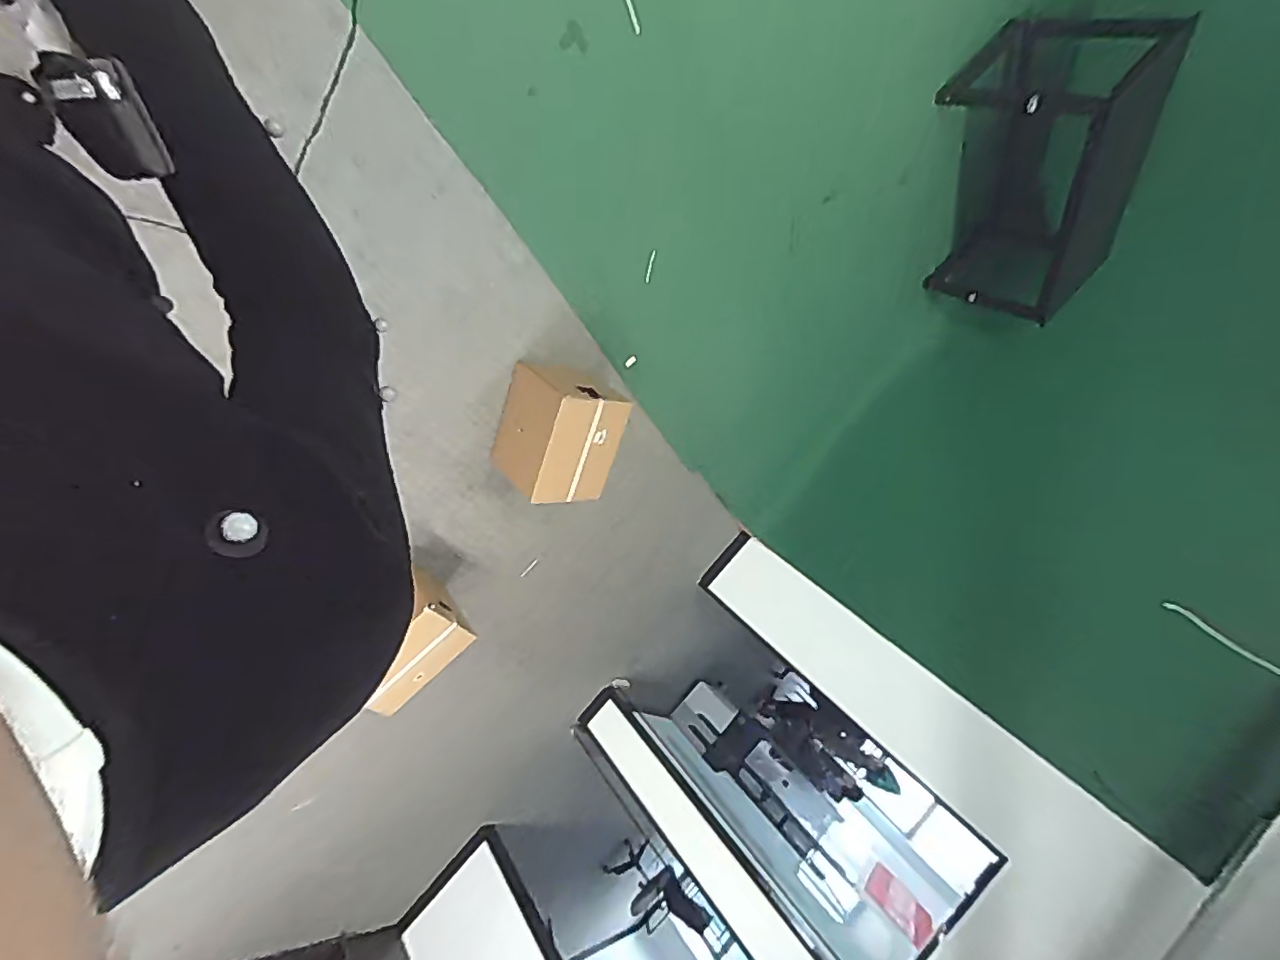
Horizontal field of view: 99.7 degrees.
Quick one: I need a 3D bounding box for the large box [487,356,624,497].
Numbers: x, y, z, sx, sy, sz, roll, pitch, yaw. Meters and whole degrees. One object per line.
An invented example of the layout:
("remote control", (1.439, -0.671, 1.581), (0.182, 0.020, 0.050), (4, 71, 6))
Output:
("large box", (-0.317, -0.192, 1.962), (0.320, 0.320, 0.408), (-4, 123, -46))
